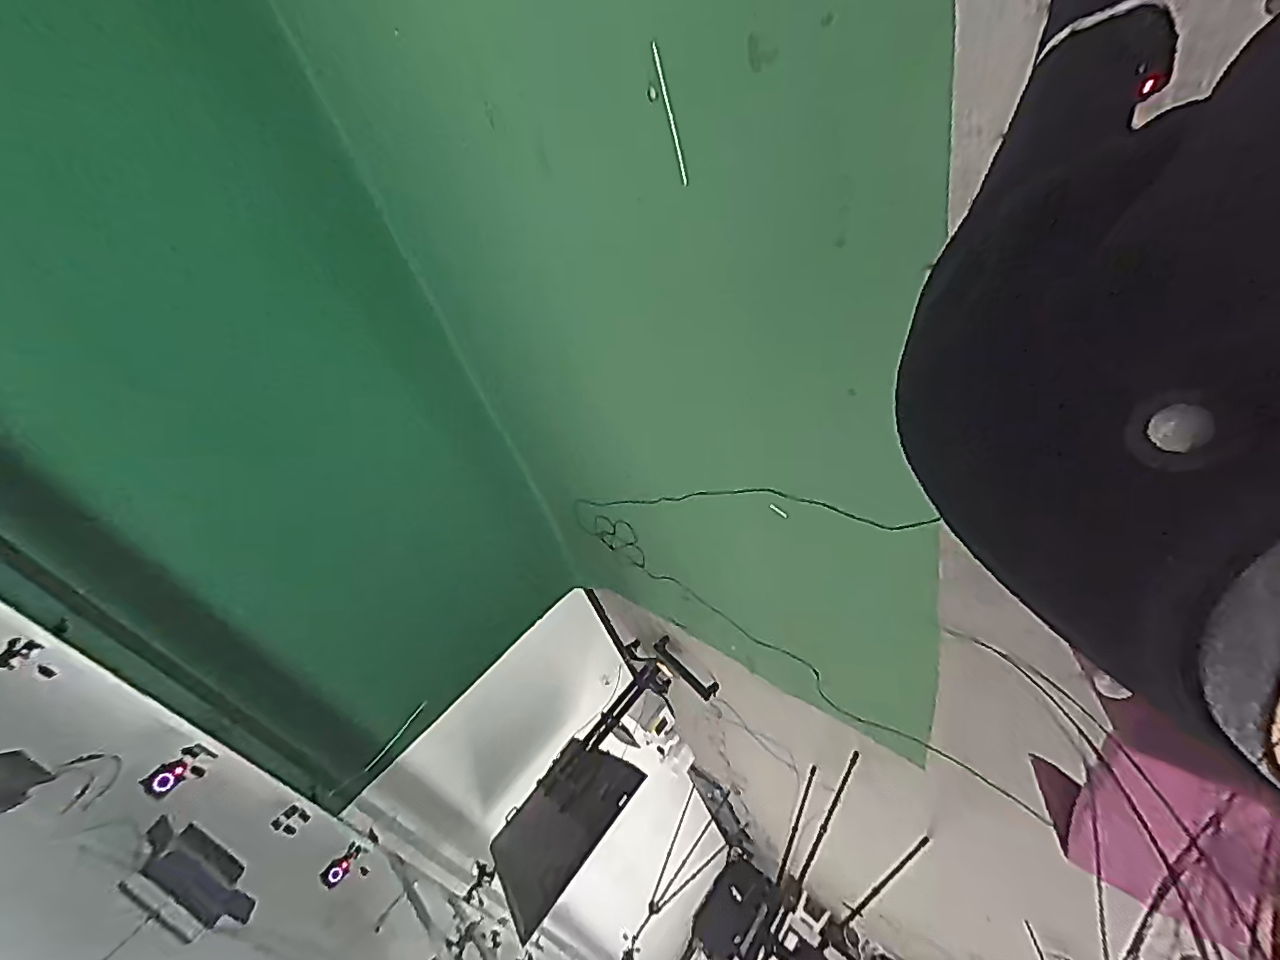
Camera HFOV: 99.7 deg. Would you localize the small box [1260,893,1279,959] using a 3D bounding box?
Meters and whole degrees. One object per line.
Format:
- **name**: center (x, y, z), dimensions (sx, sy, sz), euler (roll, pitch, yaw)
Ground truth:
- **small box**: center (1.138, 0.791, 0.862), dimensions (0.168, 0.176, 0.179), euler (21, 143, 40)
